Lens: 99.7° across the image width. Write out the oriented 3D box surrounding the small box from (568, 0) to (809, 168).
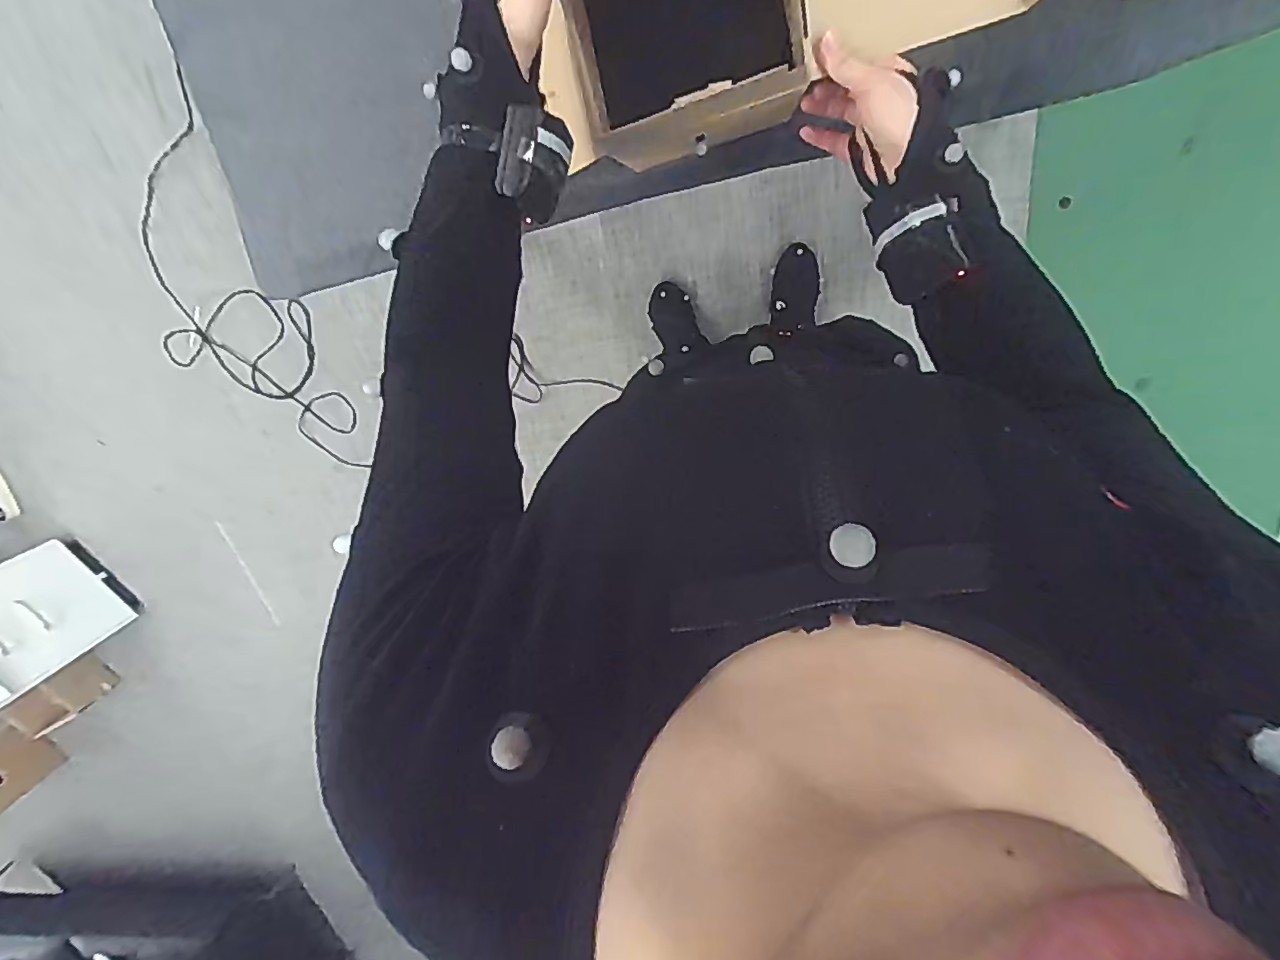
[{"bbox_3d":[0.046,-0.404,0.494,0.179,0.176,0.168,-10,113,16],"label":"small box"}]
